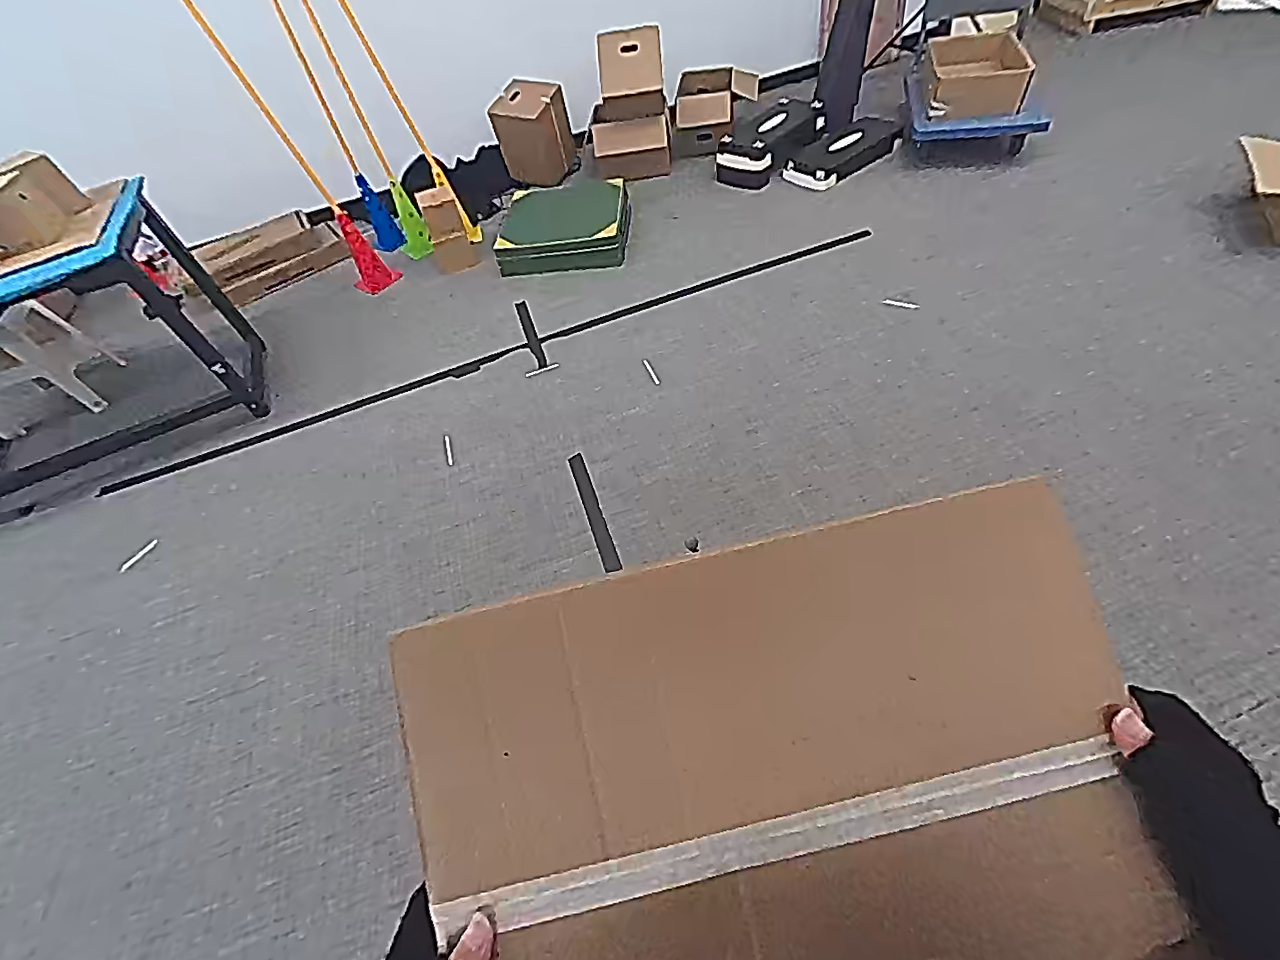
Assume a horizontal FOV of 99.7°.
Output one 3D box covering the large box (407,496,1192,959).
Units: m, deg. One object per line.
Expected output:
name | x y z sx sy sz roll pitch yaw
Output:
large box | 0.089 0.223 0.459 0.408 0.320 0.320 -14 81 -1
